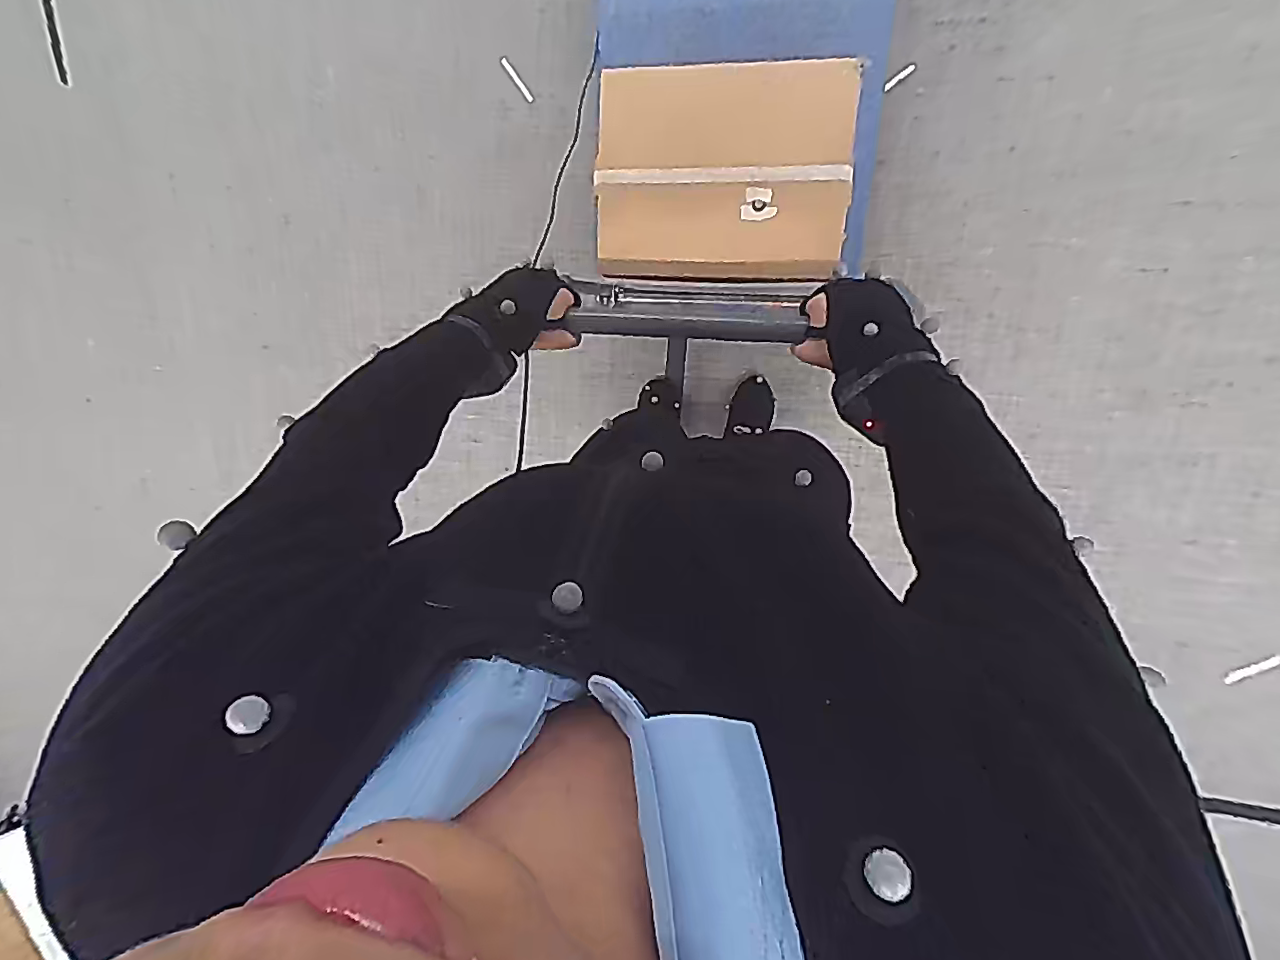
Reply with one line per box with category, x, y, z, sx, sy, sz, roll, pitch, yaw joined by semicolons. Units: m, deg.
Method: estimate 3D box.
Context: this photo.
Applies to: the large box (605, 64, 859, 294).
large box;0.159;-0.533;1.032;0.408;0.320;0.320;4;105;9
